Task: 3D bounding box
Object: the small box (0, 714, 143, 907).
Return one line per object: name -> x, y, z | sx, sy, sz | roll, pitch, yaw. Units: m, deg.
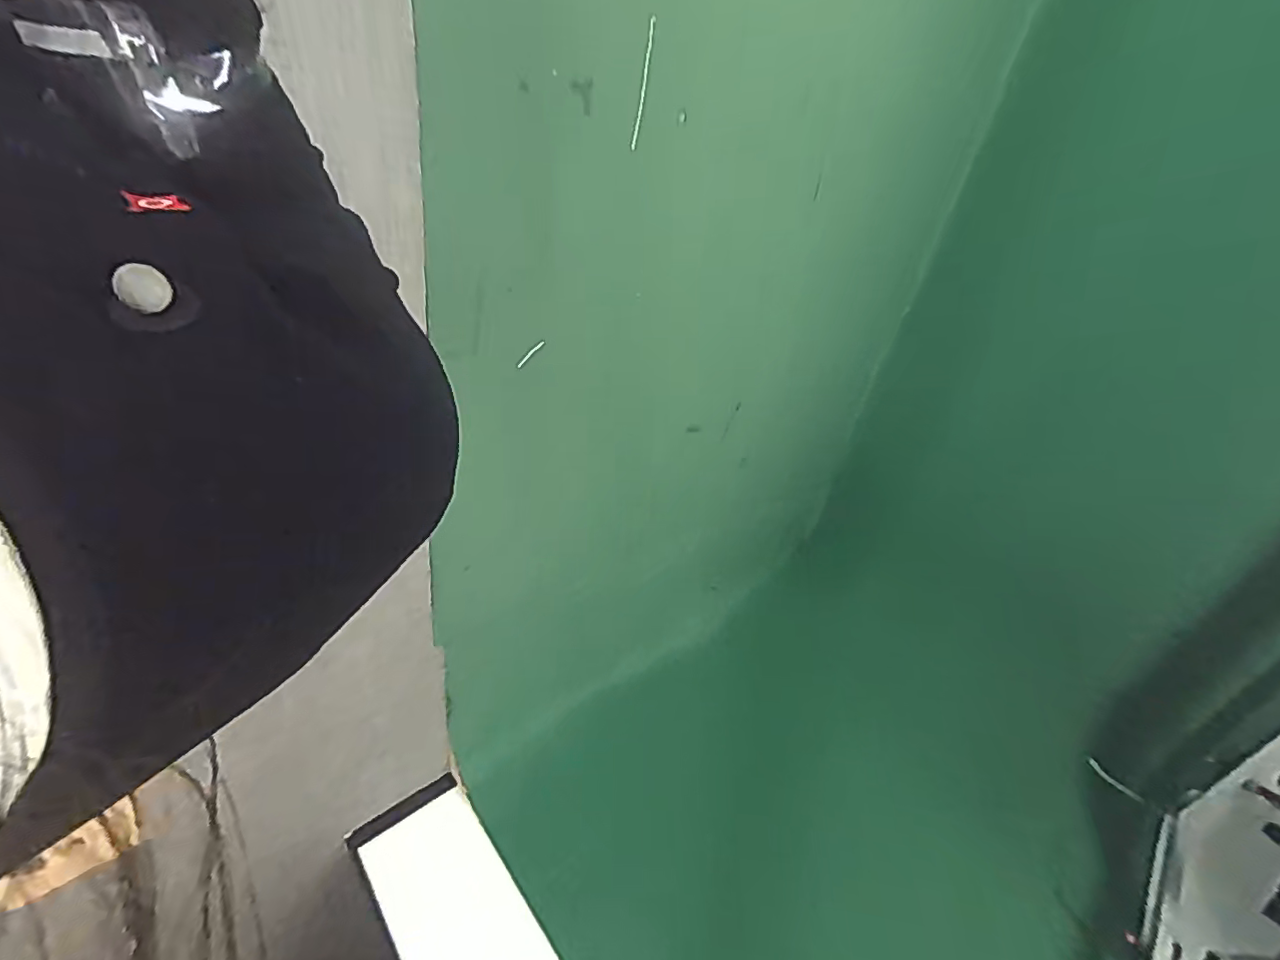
small box -> -0.961, 0.531, 0.889 | 0.179, 0.176, 0.168 | -19, 131, -38
